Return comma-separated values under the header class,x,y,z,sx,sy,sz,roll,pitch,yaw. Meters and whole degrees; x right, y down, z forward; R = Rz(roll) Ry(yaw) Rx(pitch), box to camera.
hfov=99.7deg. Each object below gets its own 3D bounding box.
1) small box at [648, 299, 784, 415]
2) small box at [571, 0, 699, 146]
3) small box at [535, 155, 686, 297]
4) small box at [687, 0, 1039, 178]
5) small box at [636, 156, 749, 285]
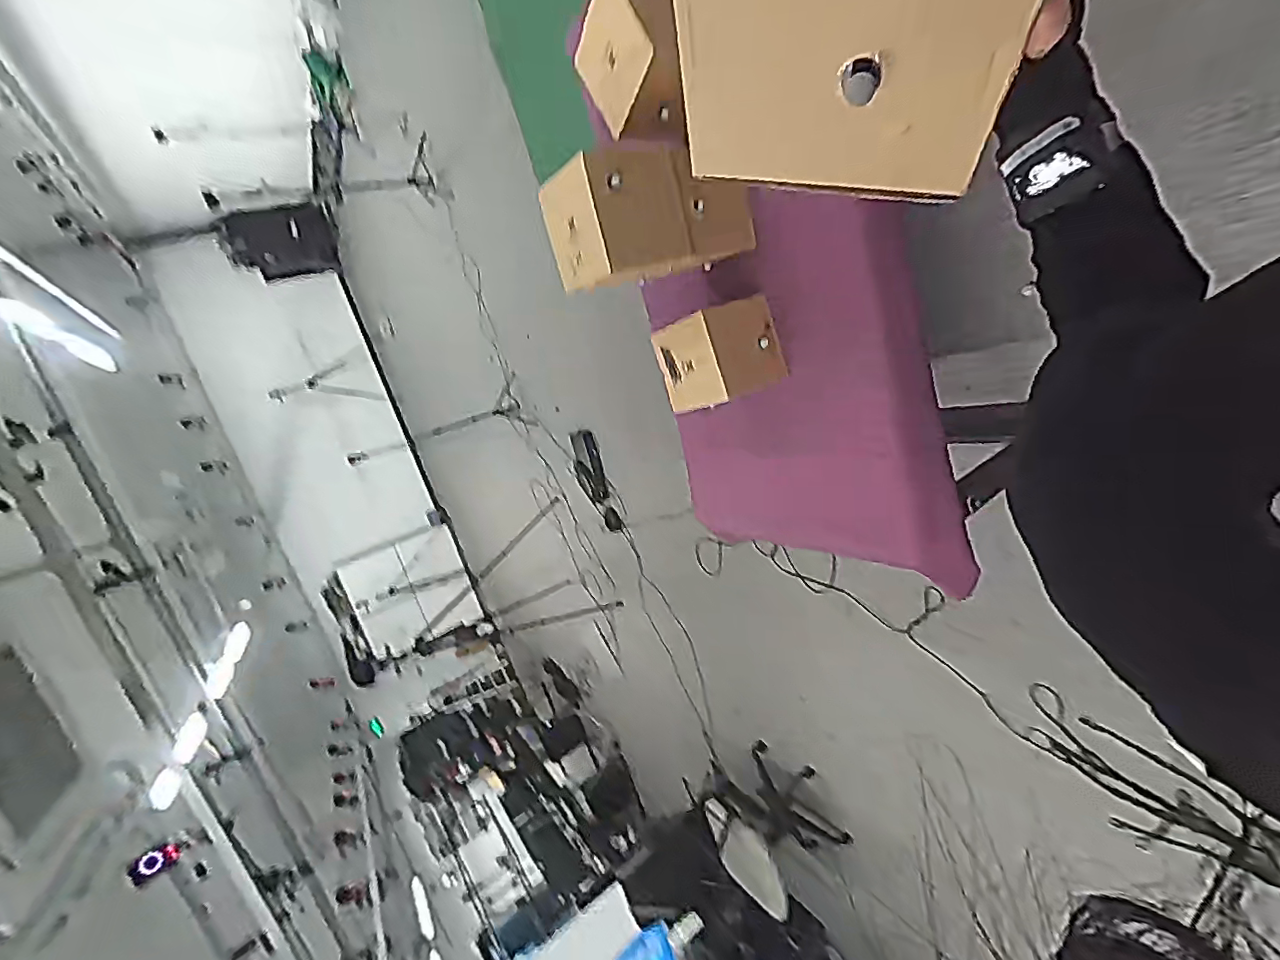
class,x,y,z,sx,sy,sz,roll,pitch,yaw
small box,0.149,-0.239,1.063,0.179,0.176,0.168,-4,108,59
small box,0.010,-0.721,0.934,0.179,0.176,0.168,63,151,5
small box,-0.048,-0.426,0.911,0.168,0.176,0.179,10,120,56
small box,0.127,-0.301,0.293,0.179,0.168,0.176,15,161,17
small box,0.080,-0.481,0.999,0.168,0.176,0.179,9,119,56
